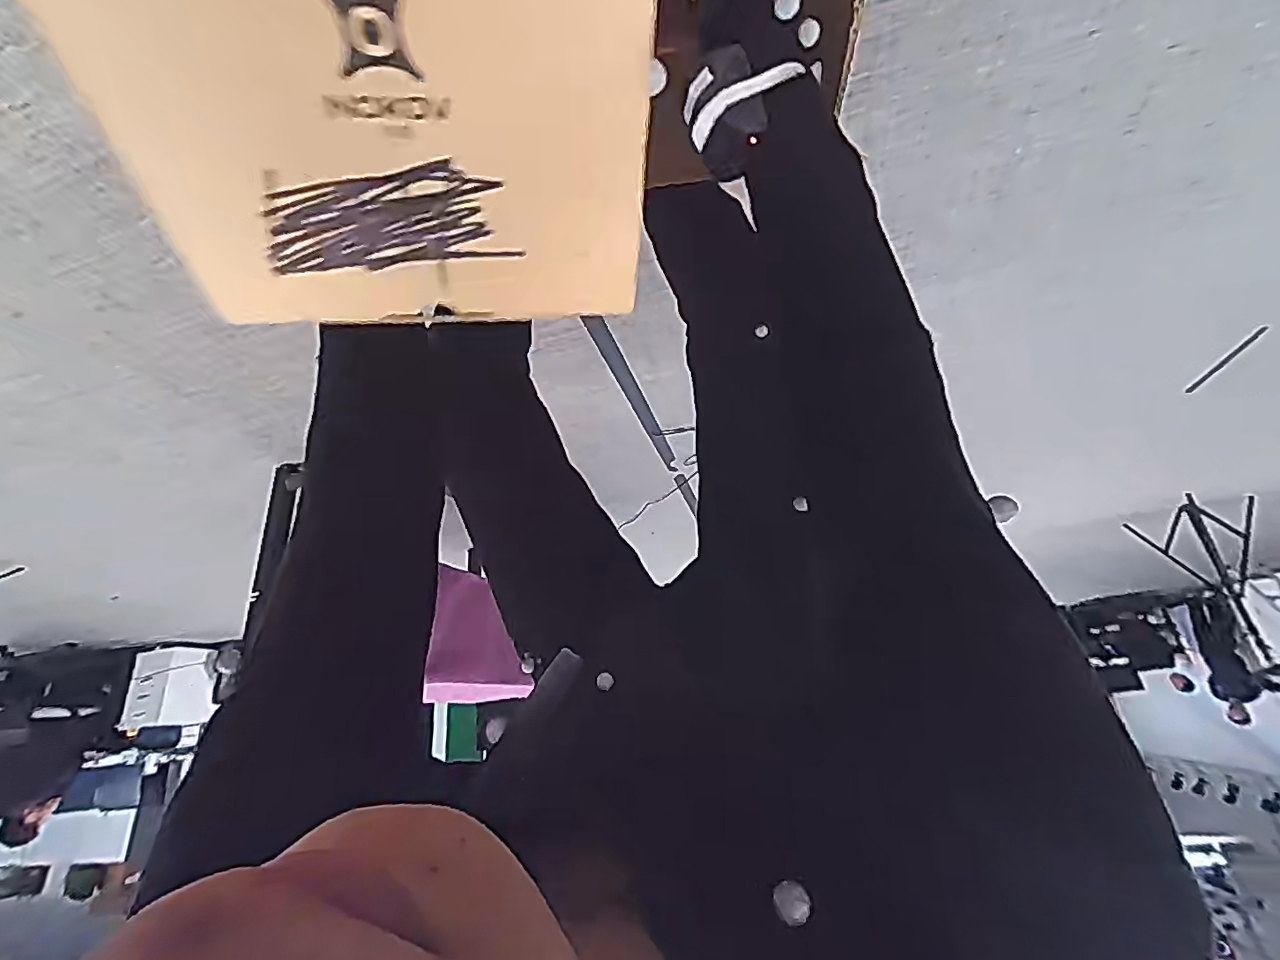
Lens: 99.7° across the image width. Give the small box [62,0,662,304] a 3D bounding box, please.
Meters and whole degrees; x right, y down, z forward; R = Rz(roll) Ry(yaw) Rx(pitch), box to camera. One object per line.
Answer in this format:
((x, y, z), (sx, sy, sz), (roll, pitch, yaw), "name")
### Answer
((-0.086, -0.193, 0.211), (0.168, 0.176, 0.179), (-4, 144, -9), "small box")
